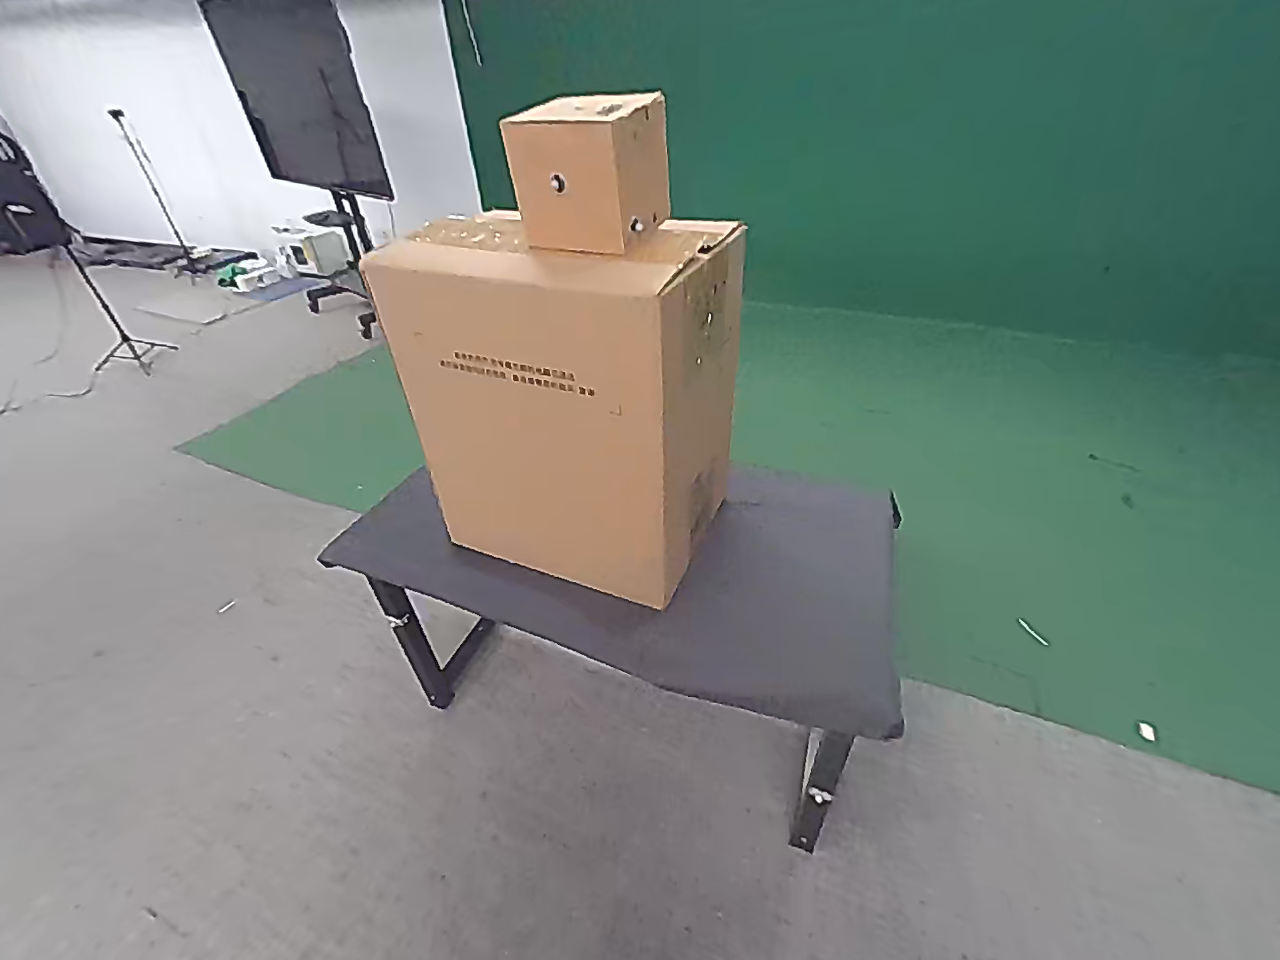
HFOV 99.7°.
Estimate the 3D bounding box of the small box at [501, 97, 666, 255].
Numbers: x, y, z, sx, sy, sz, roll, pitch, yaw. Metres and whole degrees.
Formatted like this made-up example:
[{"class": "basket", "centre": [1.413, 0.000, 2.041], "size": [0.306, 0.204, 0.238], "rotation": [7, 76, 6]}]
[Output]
[{"class": "small box", "centre": [-0.070, -0.450, 0.805], "size": [0.179, 0.176, 0.168], "rotation": [14, 47, 22]}]
